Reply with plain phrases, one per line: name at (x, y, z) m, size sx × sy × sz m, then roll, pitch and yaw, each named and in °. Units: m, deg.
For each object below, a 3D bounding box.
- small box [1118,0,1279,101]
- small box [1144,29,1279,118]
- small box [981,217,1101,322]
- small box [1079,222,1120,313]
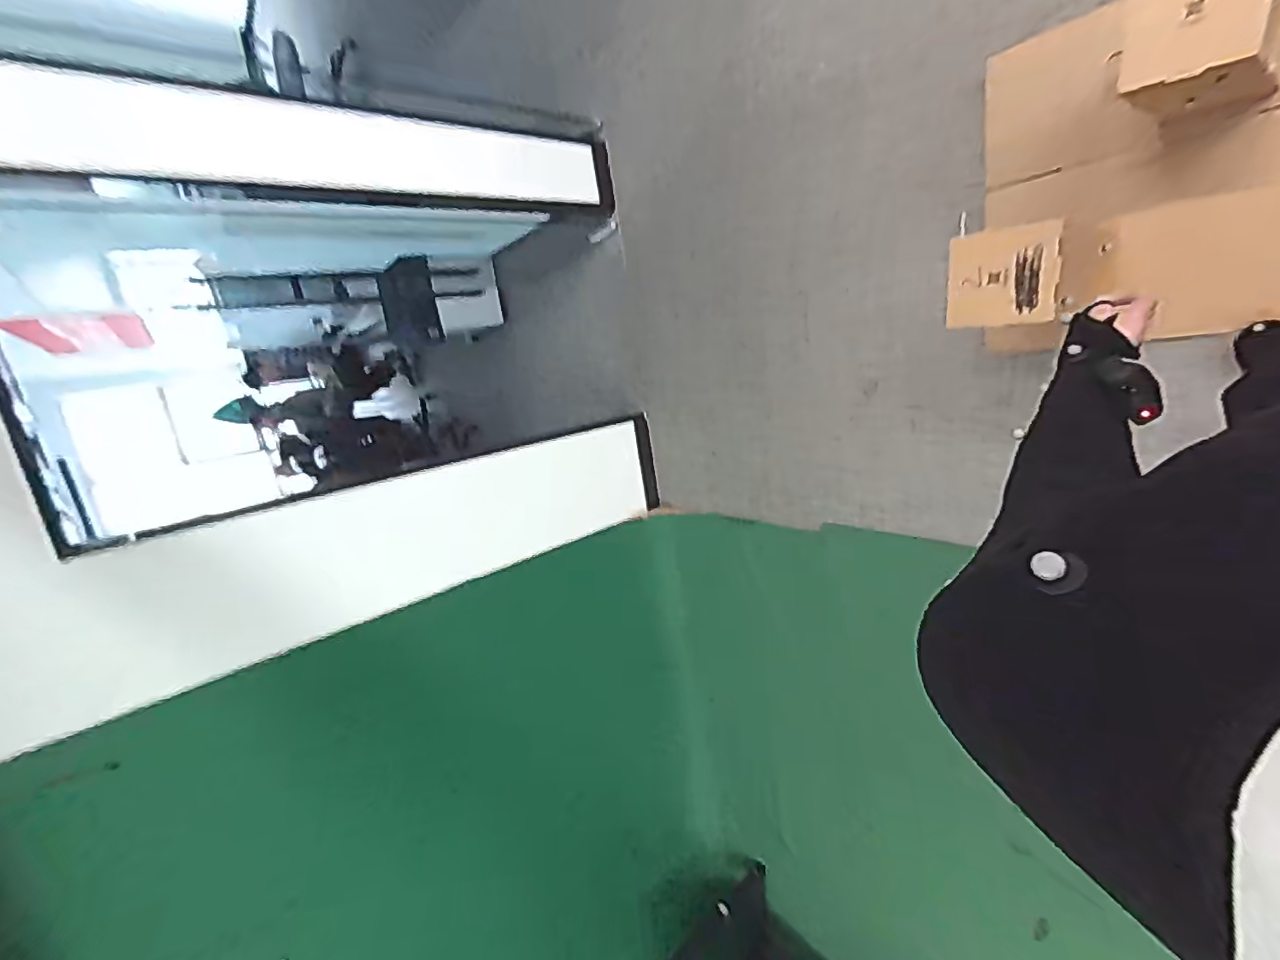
small box at (0.917, -0.744, 0.879) m, size 0.168 × 0.176 × 0.179 m, roll 15°, pitch 116°, yaw 48°
small box at (1.044, -0.787, 0.973) m, size 0.168 × 0.176 × 0.179 m, roll 12°, pitch 114°, yaw 50°
small box at (0.832, -0.431, 1.123) m, size 0.168 × 0.176 × 0.179 m, roll 9°, pitch 113°, yaw 50°
small box at (0.957, -0.466, 1.220) m, size 0.168 × 0.176 × 0.179 m, roll 10°, pitch 112°, yaw 51°
